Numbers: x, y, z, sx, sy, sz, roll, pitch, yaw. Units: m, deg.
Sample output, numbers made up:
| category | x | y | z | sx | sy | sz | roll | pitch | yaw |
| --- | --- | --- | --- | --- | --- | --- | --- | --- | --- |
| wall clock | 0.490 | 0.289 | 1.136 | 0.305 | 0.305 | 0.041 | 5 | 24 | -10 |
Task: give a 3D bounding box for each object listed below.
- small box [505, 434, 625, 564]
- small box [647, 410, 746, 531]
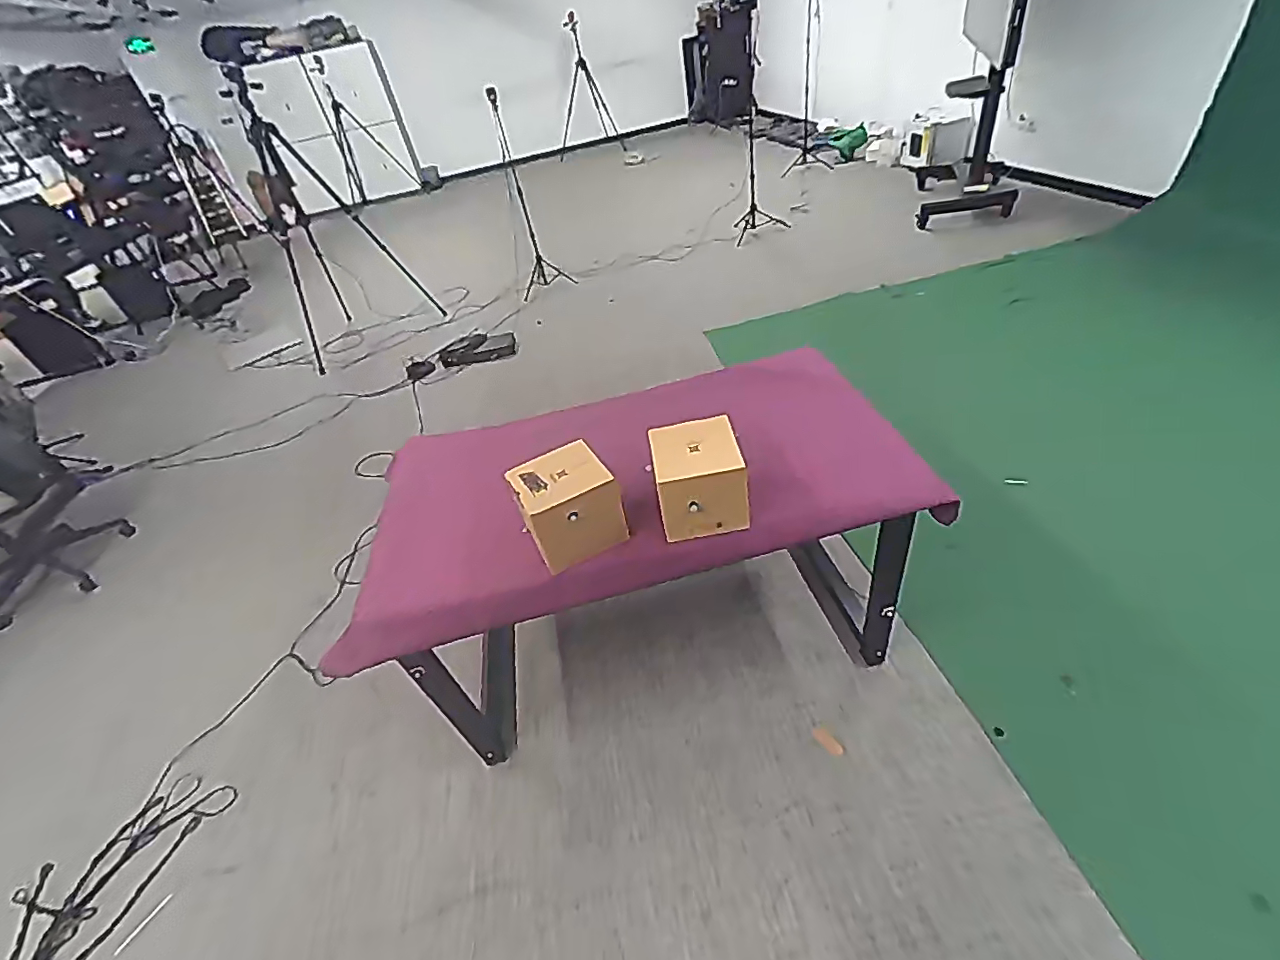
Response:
| category | x | y | z | sx | sy | sz | roll | pitch | yaw |
| --- | --- | --- | --- | --- | --- | --- | --- | --- | --- |
| small box | -0.148 | 0.039 | 1.097 | 0.179 | 0.176 | 0.168 | -24 | 41 | -15 |
| small box | 0.115 | -0.014 | 1.094 | 0.168 | 0.176 | 0.179 | -11 | 40 | 3 |
